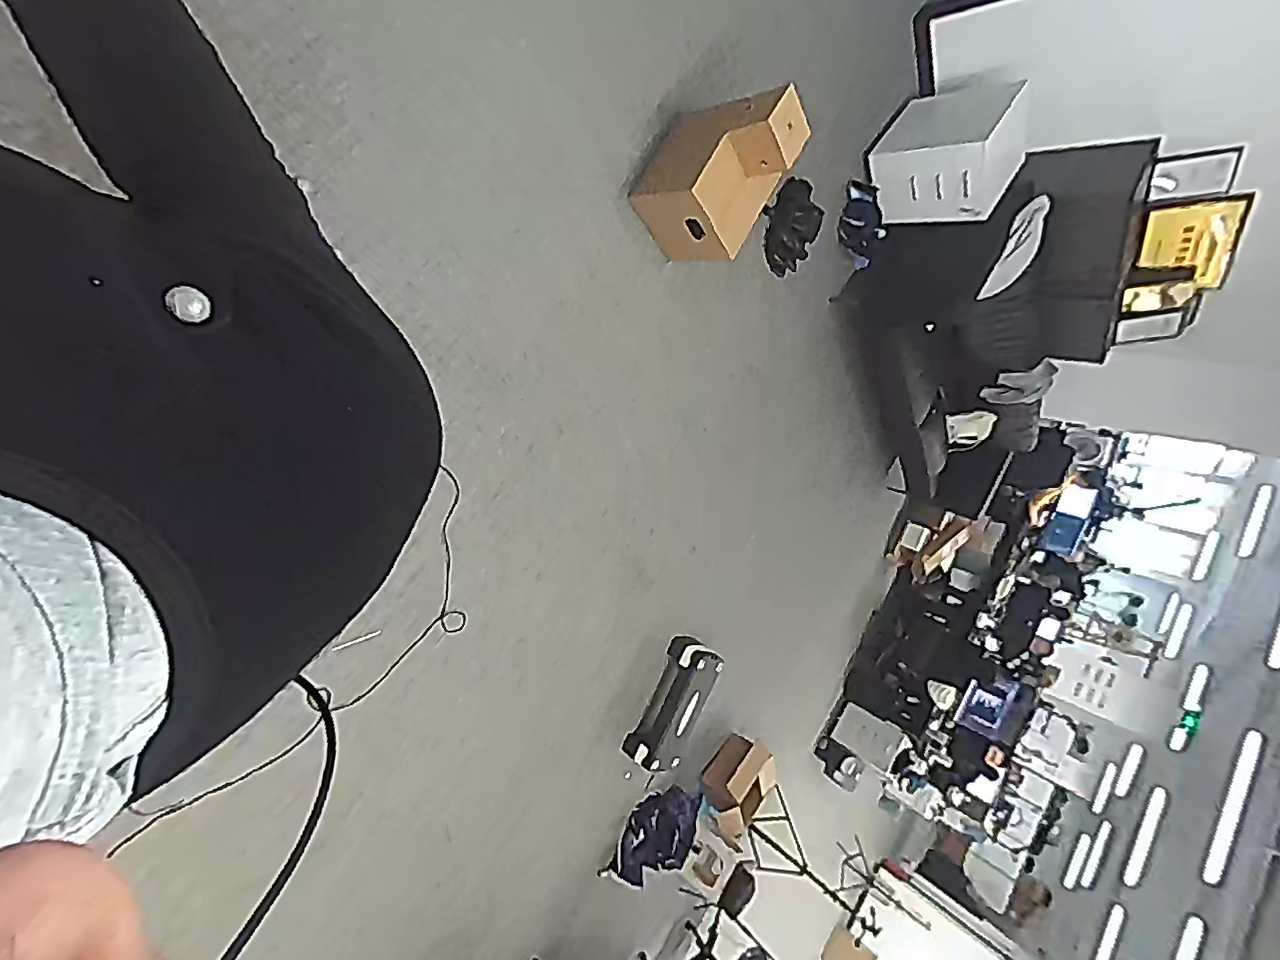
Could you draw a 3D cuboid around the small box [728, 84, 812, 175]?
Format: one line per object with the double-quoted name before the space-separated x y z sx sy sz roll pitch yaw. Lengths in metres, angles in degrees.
"small box" 0.418 -1.116 1.741 0.179 0.176 0.168 39 76 -41
